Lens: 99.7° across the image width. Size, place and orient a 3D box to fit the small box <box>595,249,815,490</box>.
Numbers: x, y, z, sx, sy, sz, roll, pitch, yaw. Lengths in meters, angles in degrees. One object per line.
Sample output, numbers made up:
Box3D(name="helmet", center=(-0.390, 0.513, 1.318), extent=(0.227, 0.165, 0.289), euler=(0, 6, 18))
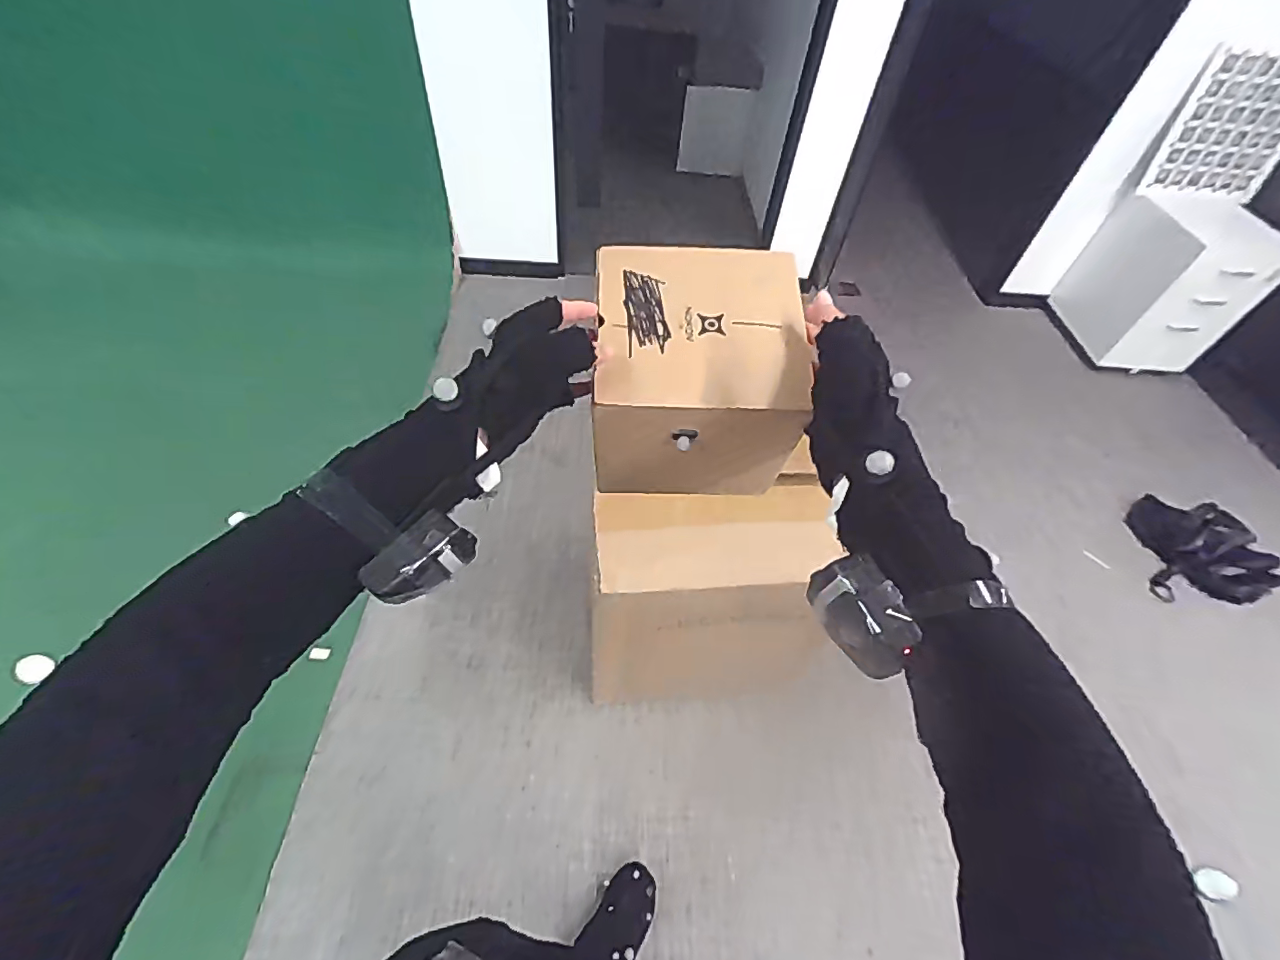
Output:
Box3D(name="small box", center=(0.048, -0.096, 0.525), extent=(0.179, 0.176, 0.168), euler=(1, 66, -3))
